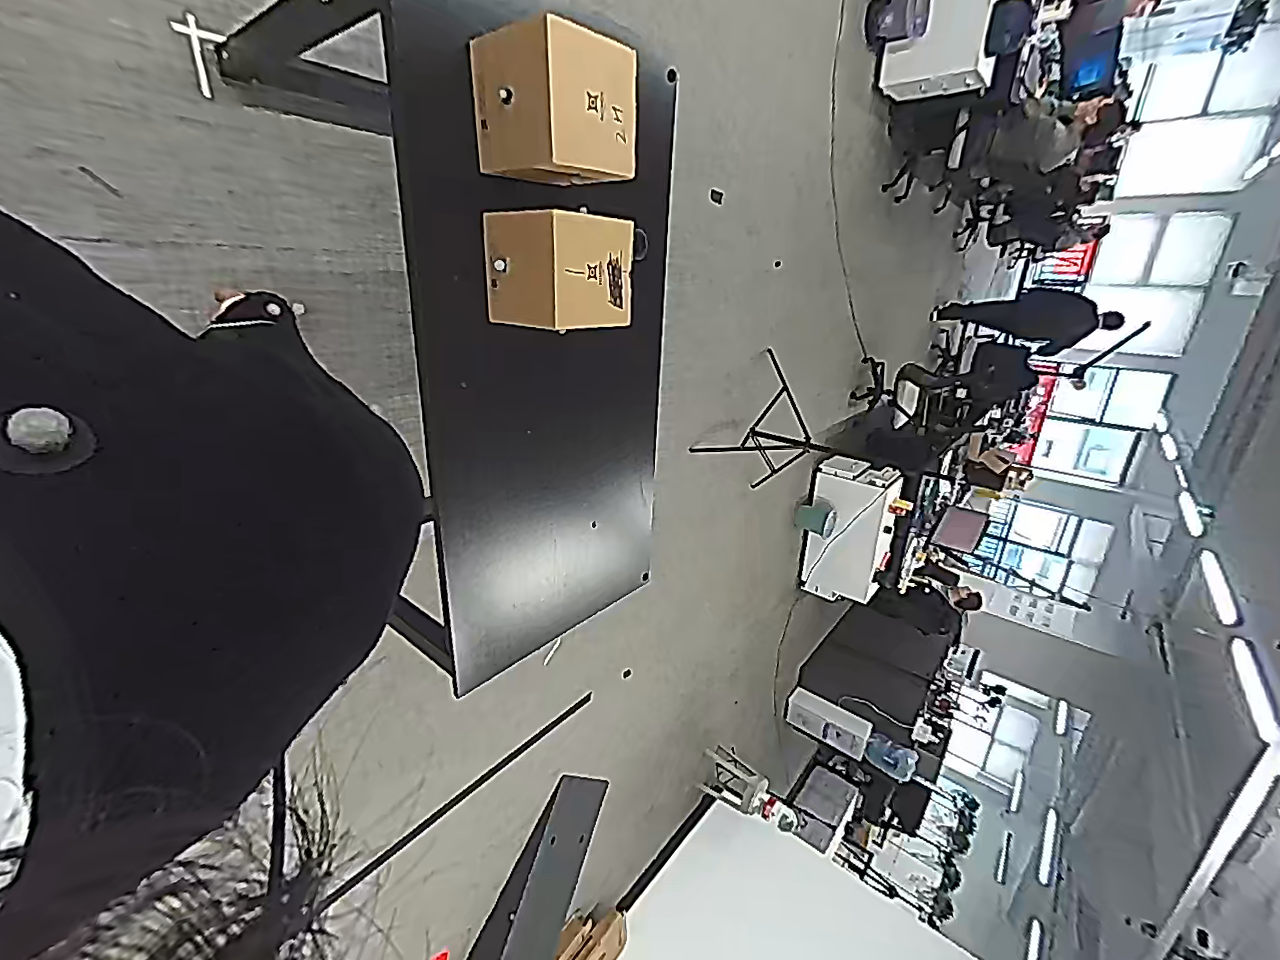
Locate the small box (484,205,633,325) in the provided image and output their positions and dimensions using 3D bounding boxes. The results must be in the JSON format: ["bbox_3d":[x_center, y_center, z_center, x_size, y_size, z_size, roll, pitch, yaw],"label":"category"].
[{"bbox_3d":[-0.131,-0.349,0.888,0.179,0.176,0.168,-21,121,-46],"label":"small box"}]
